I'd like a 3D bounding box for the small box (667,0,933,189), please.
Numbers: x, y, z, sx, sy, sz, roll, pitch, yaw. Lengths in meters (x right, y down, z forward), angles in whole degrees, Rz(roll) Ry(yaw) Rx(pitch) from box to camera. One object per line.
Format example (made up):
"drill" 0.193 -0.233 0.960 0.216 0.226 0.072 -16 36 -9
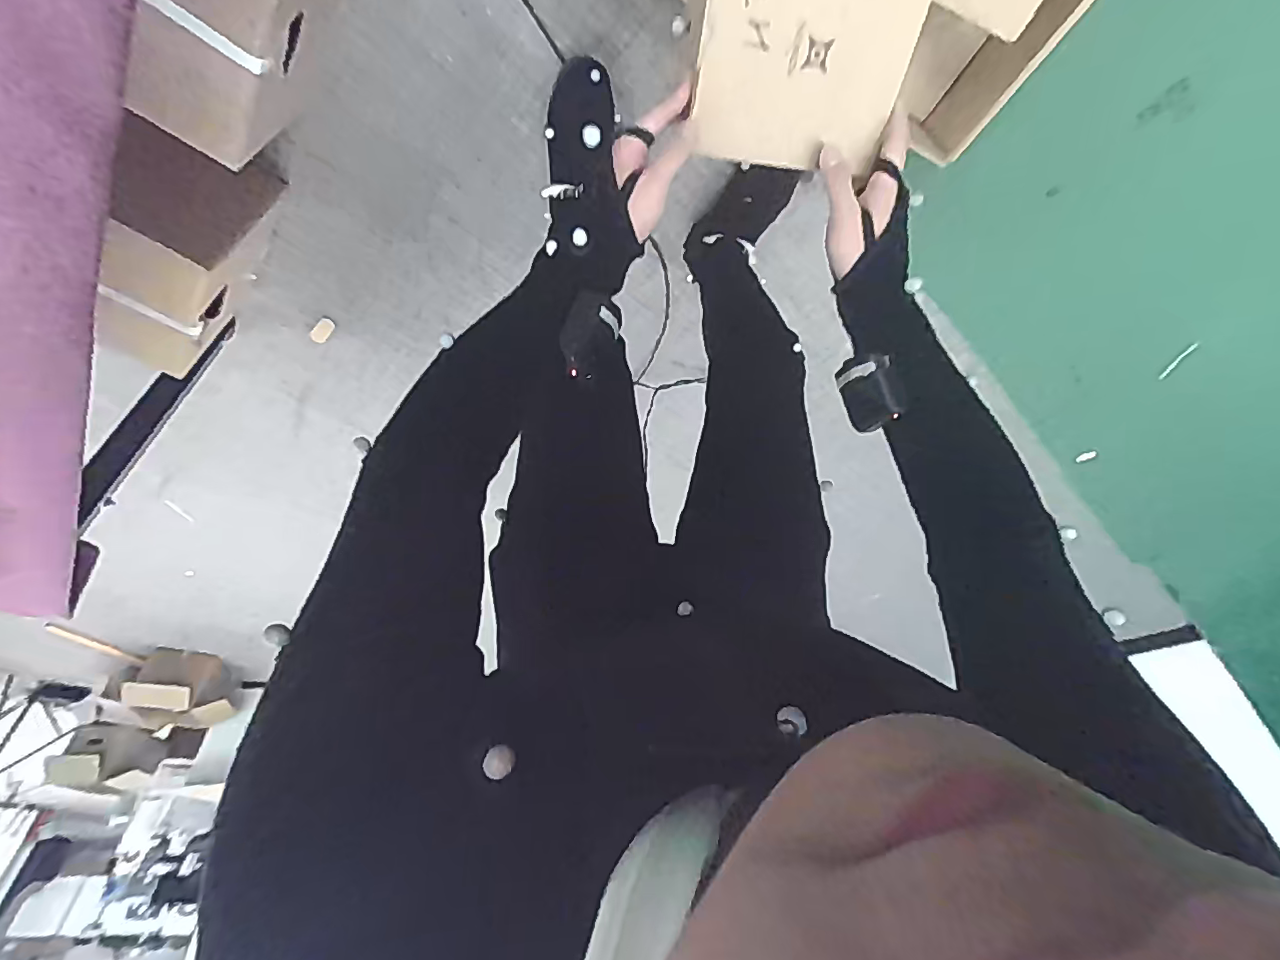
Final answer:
"small box" 0.126 -0.384 0.490 0.179 0.176 0.168 4 130 -6

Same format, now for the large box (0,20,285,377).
"large box" -0.931 -0.464 0.948 0.408 0.320 0.320 30 133 -30
